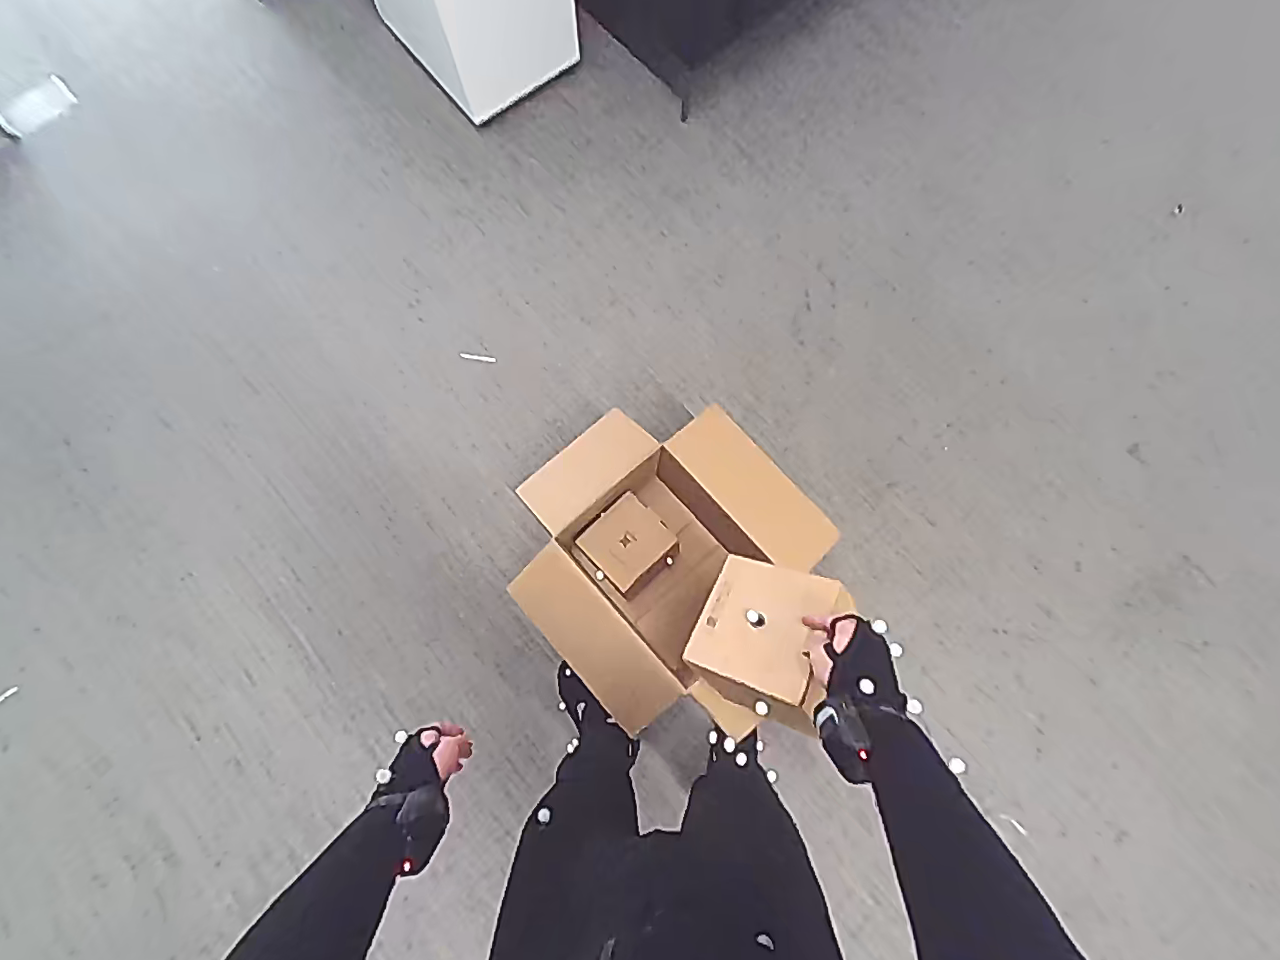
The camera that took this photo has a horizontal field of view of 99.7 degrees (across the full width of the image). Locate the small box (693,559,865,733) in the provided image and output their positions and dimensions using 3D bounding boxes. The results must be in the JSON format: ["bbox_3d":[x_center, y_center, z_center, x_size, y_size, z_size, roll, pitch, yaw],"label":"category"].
[{"bbox_3d":[0.196,0.224,0.757,0.176,0.179,0.168,8,61,37],"label":"small box"}]
